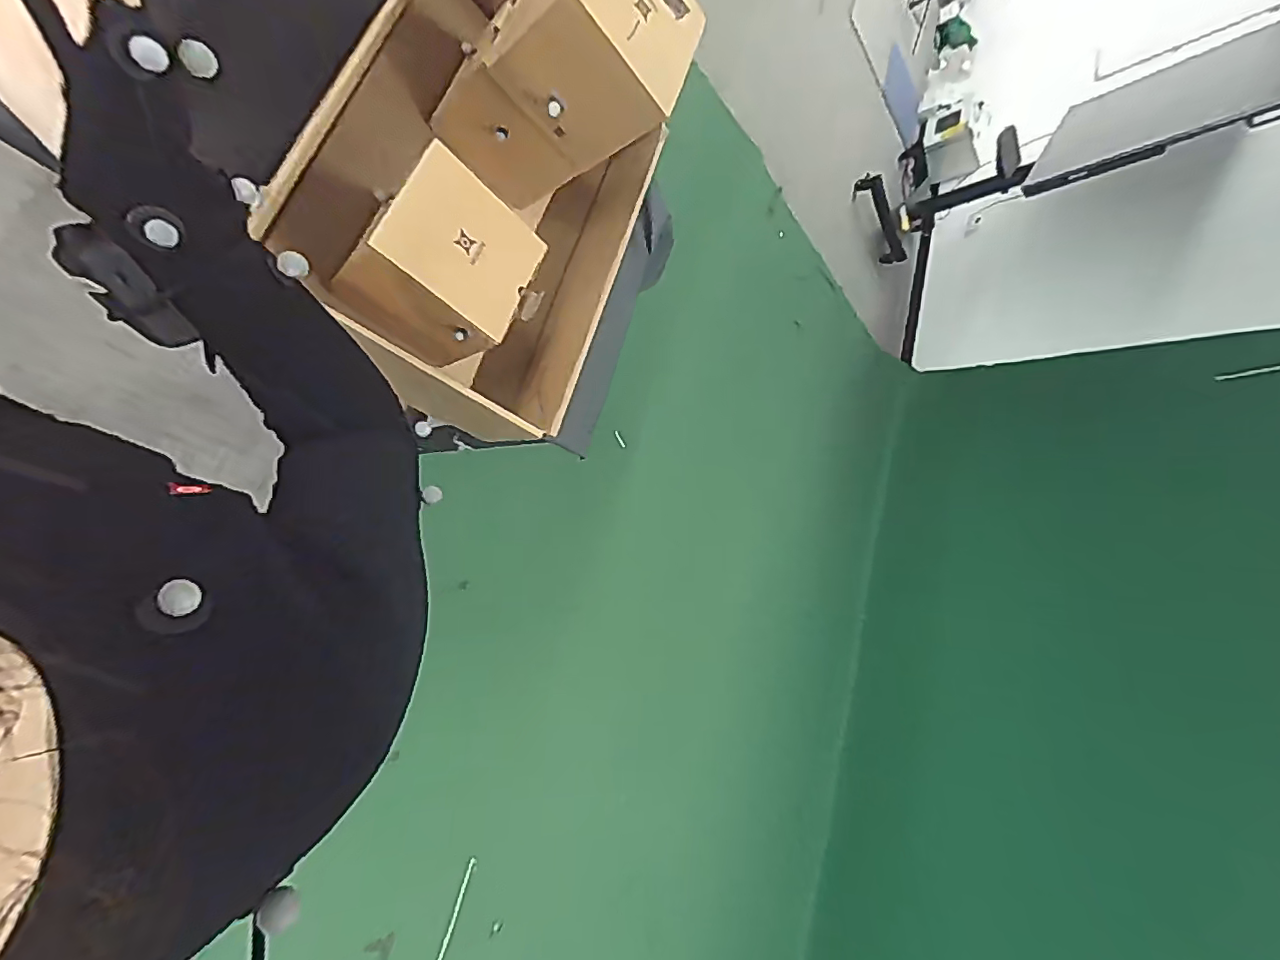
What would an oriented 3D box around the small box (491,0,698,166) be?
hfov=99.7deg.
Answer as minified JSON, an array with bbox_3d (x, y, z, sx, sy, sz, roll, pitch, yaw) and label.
[{"bbox_3d":[-0.058,-0.544,0.675,0.168,0.176,0.179,31,70,-41],"label":"small box"}]
